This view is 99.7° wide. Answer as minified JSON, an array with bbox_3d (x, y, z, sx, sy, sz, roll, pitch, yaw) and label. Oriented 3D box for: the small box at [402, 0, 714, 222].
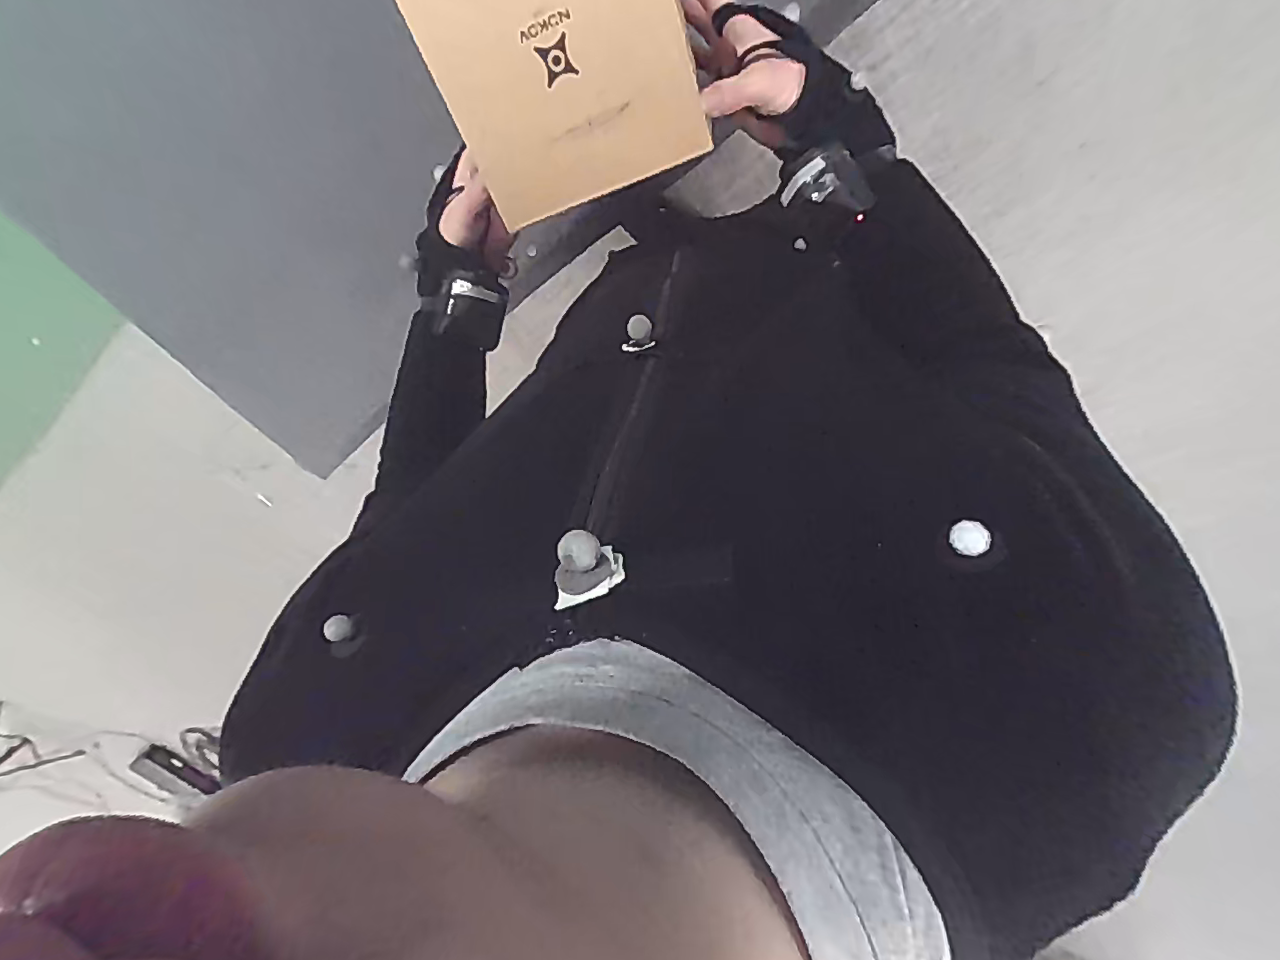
[{"bbox_3d":[-0.048,-0.326,0.399,0.168,0.176,0.179,-12,129,16],"label":"small box"}]
